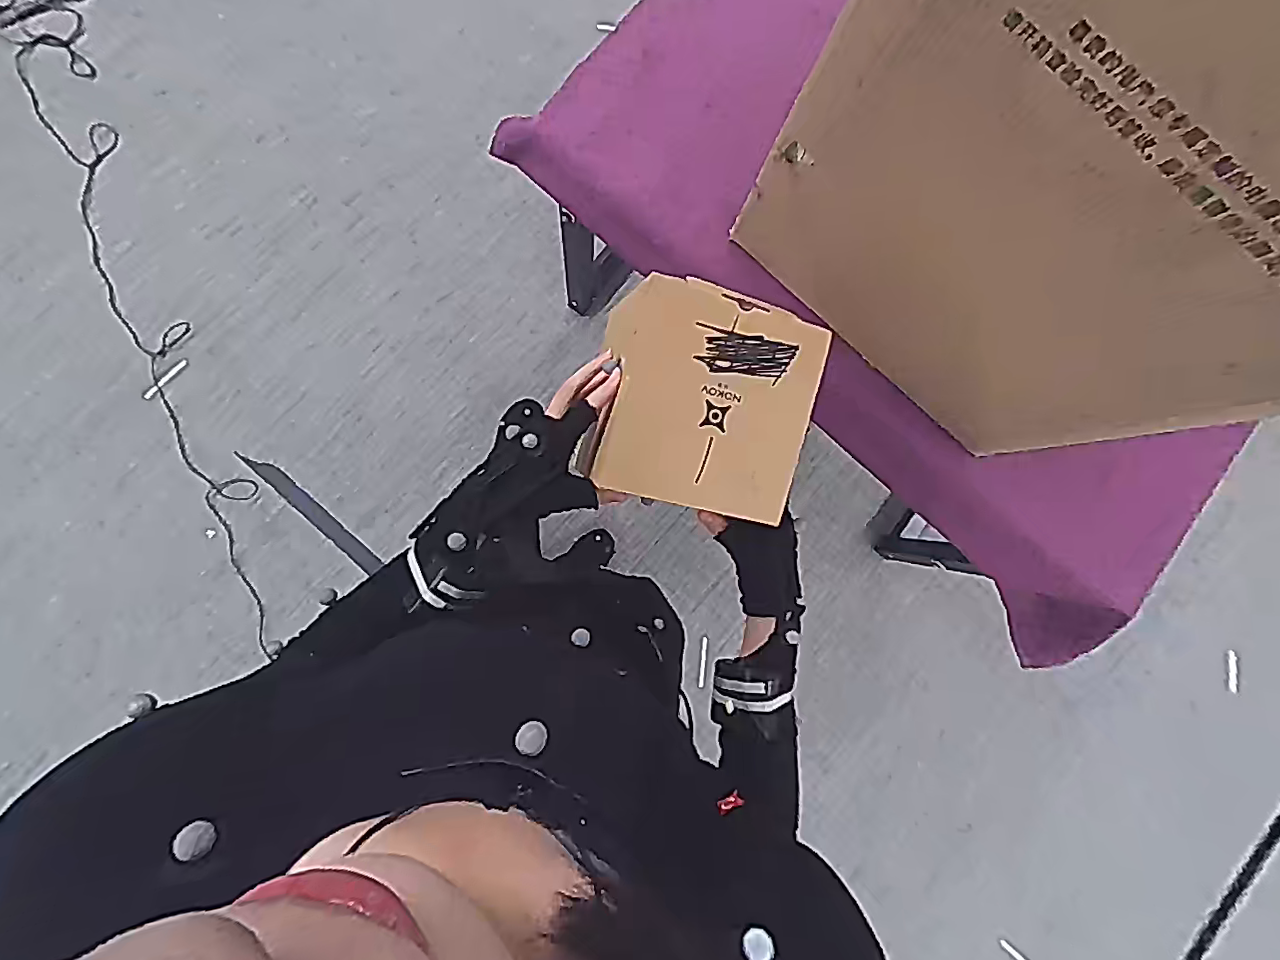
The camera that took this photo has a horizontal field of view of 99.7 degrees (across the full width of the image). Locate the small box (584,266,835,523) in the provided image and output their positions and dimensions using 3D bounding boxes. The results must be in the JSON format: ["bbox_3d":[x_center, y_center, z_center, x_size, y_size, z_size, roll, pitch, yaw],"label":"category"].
[{"bbox_3d":[0.050,-0.071,0.513,0.168,0.176,0.179,13,93,-14],"label":"small box"}]
